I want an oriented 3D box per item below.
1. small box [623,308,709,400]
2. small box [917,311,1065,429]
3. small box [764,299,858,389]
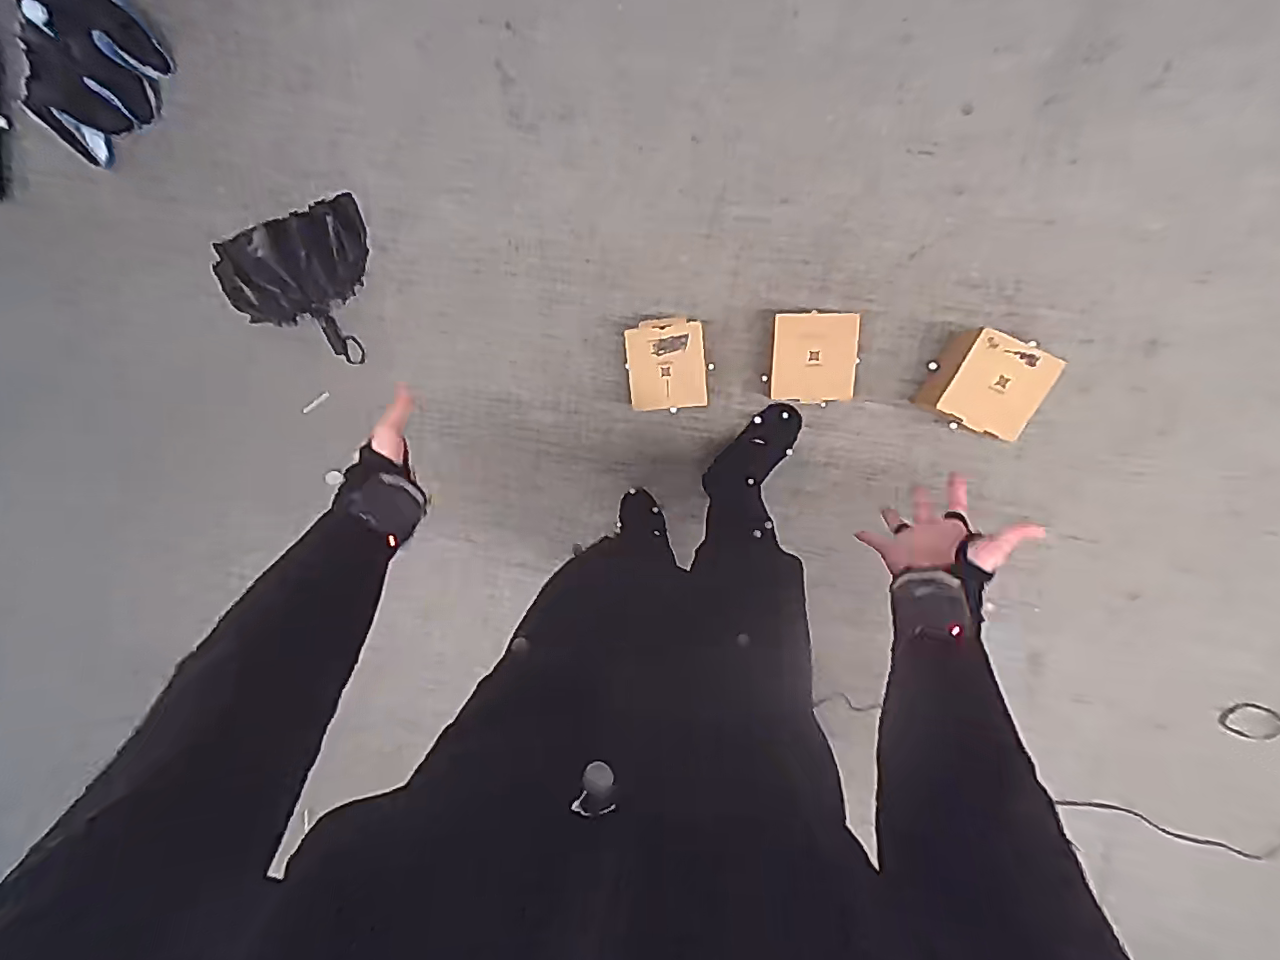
[{"bbox_3d":[0.063,-0.278,1.206,0.168,0.176,0.179,-4,103,11],"label":"small box"},{"bbox_3d":[0.698,-0.226,1.106,0.168,0.176,0.179,27,107,4],"label":"small box"},{"bbox_3d":[0.357,-0.288,1.155,0.168,0.176,0.179,1,102,9],"label":"small box"}]
